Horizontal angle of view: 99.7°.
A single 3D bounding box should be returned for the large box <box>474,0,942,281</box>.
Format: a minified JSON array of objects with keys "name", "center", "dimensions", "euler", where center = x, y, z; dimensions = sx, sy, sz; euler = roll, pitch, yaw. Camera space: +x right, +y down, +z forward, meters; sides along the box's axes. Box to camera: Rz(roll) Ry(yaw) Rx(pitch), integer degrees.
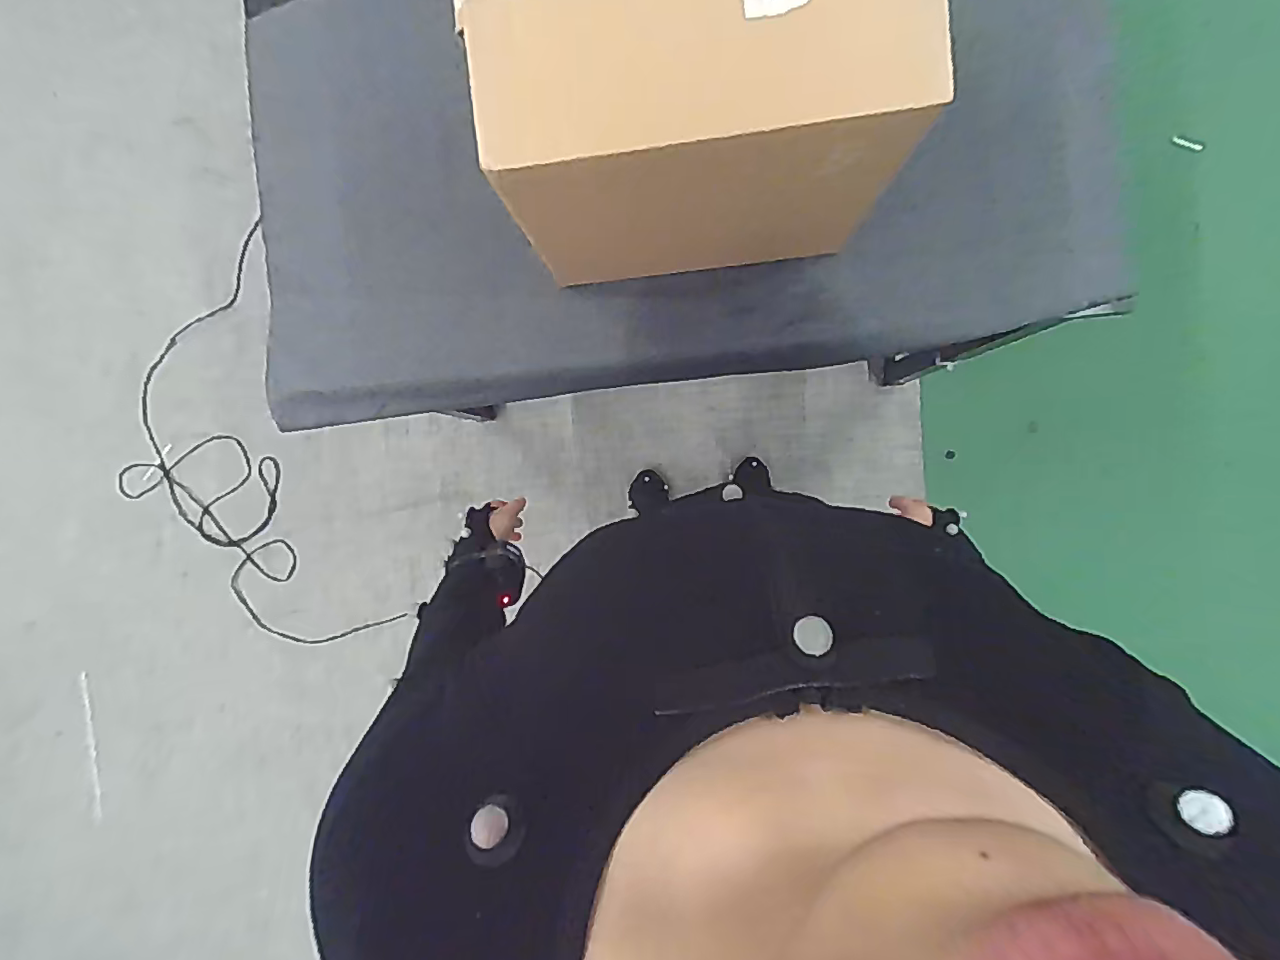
[{"name":"large box","center":[0.055,-0.456,0.621],"dimensions":[0.408,0.320,0.320],"euler":[-6,92,5]}]
